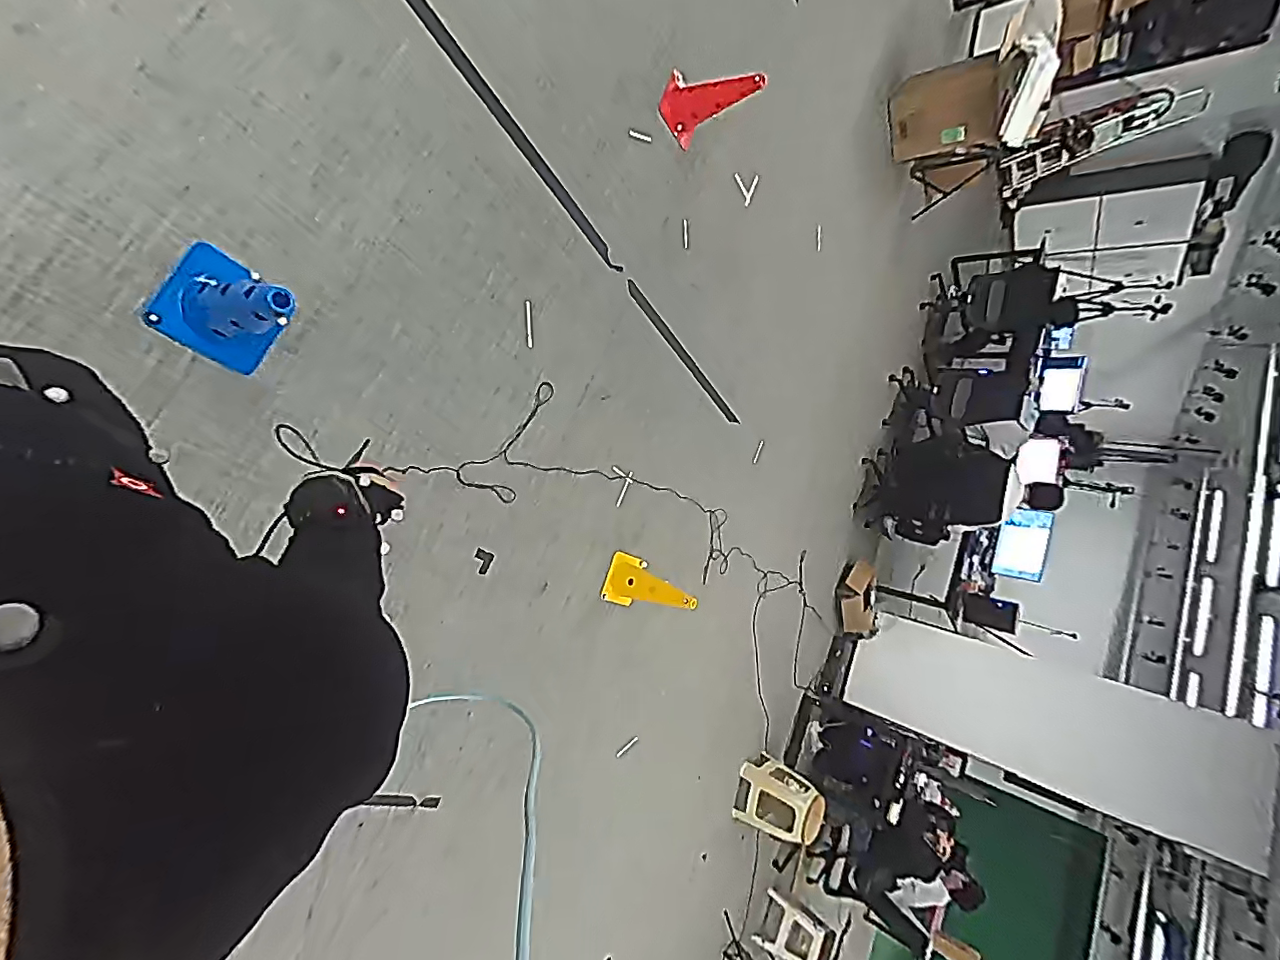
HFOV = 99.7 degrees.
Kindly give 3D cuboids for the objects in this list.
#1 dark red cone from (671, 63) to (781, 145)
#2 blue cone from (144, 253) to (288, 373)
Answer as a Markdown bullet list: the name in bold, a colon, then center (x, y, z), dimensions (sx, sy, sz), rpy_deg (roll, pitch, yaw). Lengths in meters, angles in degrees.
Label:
- **dark red cone**: center (0.314, -1.378, 1.924), dimensions (0.202, 0.394, 0.201), rpy_deg (29, 78, -49)
- **blue cone**: center (-0.721, -0.307, 0.986), dimensions (0.193, 0.380, 0.192), rpy_deg (41, 69, -47)
